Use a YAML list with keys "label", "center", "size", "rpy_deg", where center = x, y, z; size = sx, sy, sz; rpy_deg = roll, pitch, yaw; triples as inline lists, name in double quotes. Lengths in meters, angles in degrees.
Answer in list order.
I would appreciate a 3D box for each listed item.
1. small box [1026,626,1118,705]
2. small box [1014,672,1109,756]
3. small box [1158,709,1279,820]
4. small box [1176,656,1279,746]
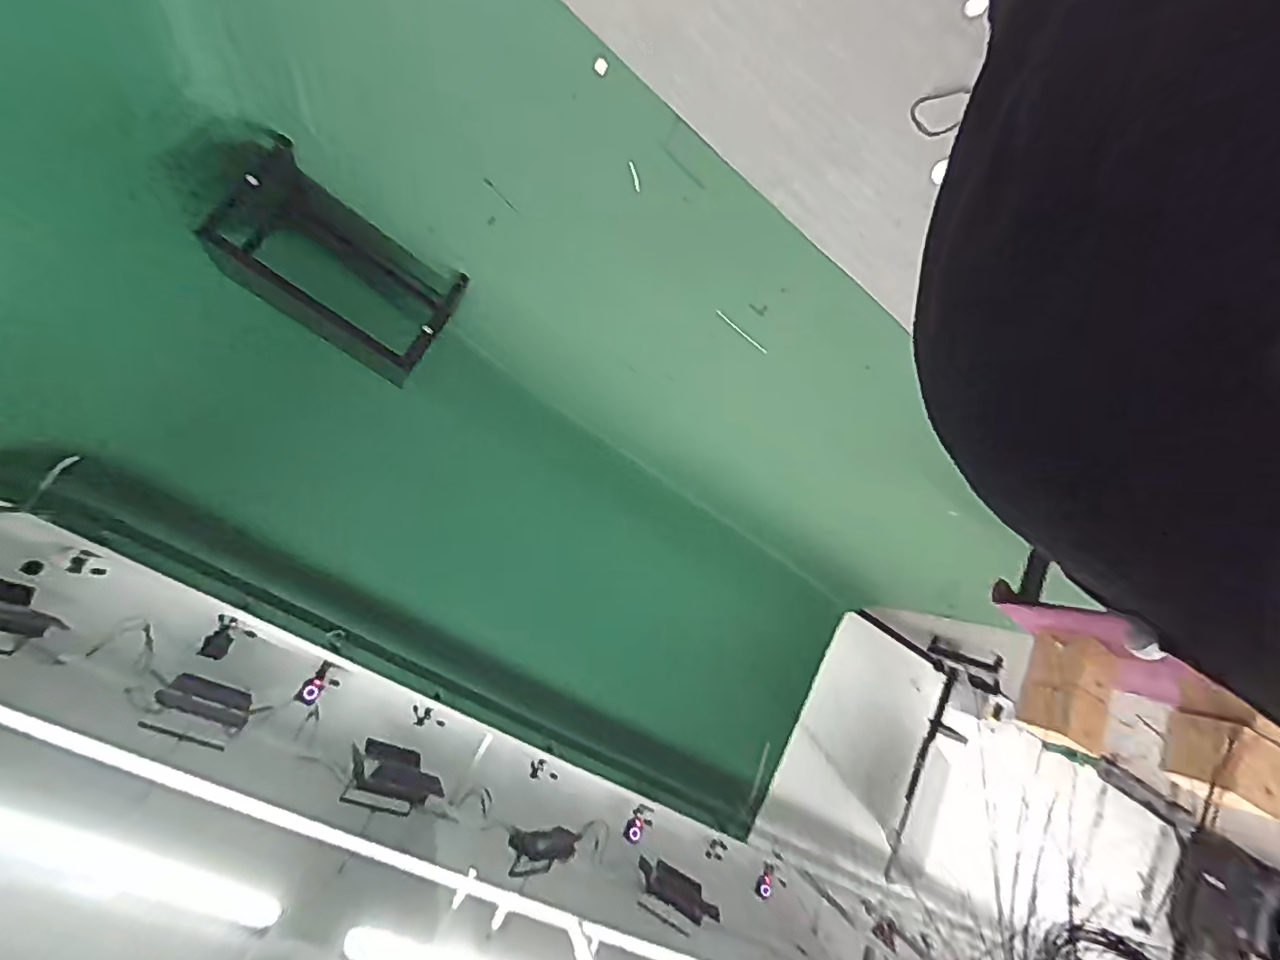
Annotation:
- label: "small box"
  center: [1.427, 0.605, 1.781]
  size: [0.179, 0.176, 0.168]
  rpy_deg: [34, 164, -18]
- label: "small box"
  center: [1.355, 0.744, 1.734]
  size: [0.179, 0.176, 0.168]
  rpy_deg: [33, 164, -16]
- label: "small box"
  center: [1.495, 0.718, 1.380]
  size: [0.179, 0.176, 0.168]
  rpy_deg: [31, 164, -8]
- label: "small box"
  center: [1.589, 0.591, 1.435]
  size: [0.179, 0.176, 0.168]
  rpy_deg: [33, 165, -14]
